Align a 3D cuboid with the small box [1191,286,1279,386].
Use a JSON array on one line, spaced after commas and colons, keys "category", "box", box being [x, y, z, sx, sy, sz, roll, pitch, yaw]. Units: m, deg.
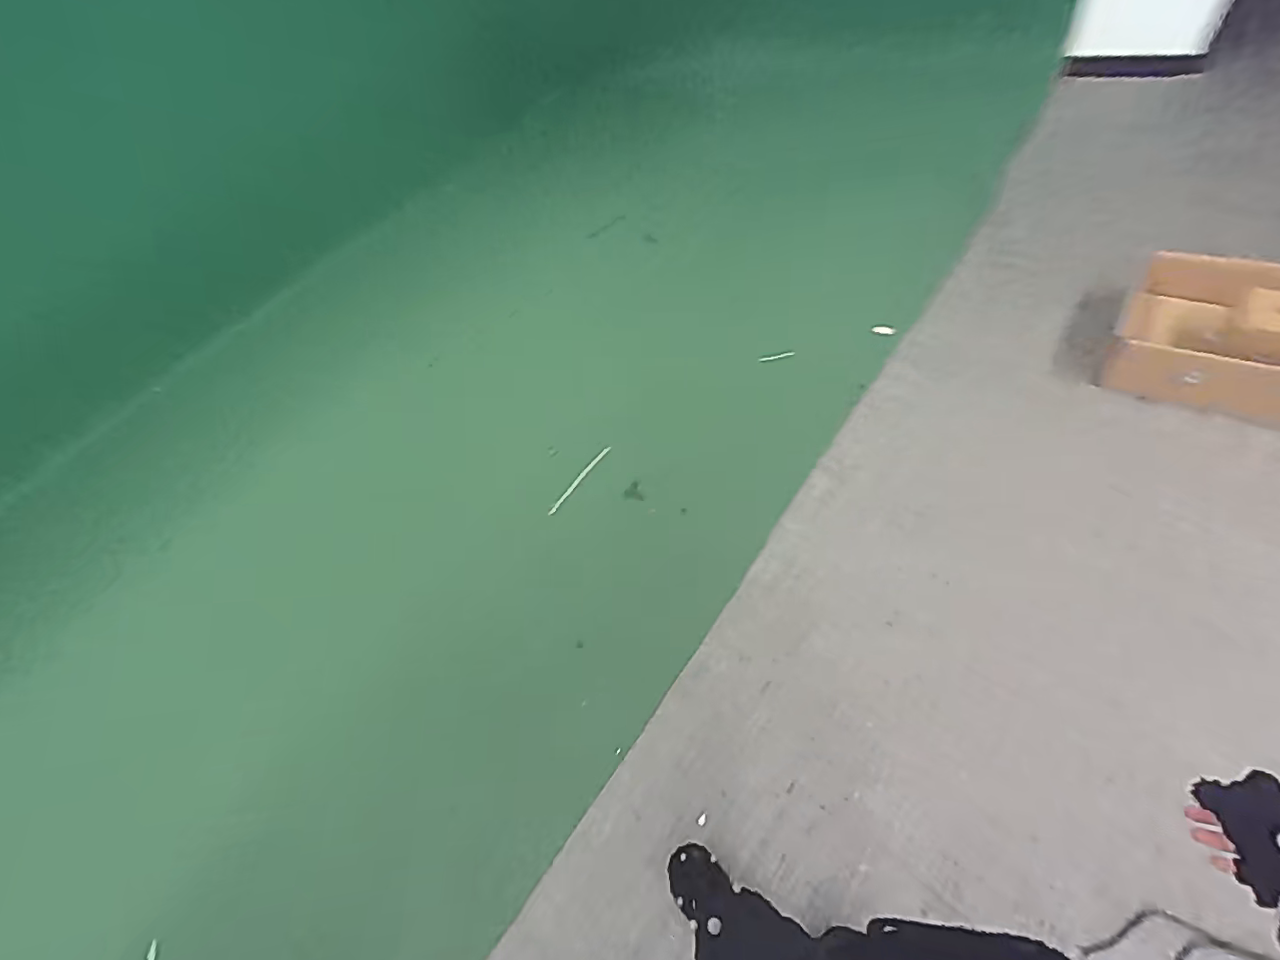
[{"category": "small box", "box": [1.595, -0.366, 1.394, 0.179, 0.176, 0.168, 23, 65, 28]}]
